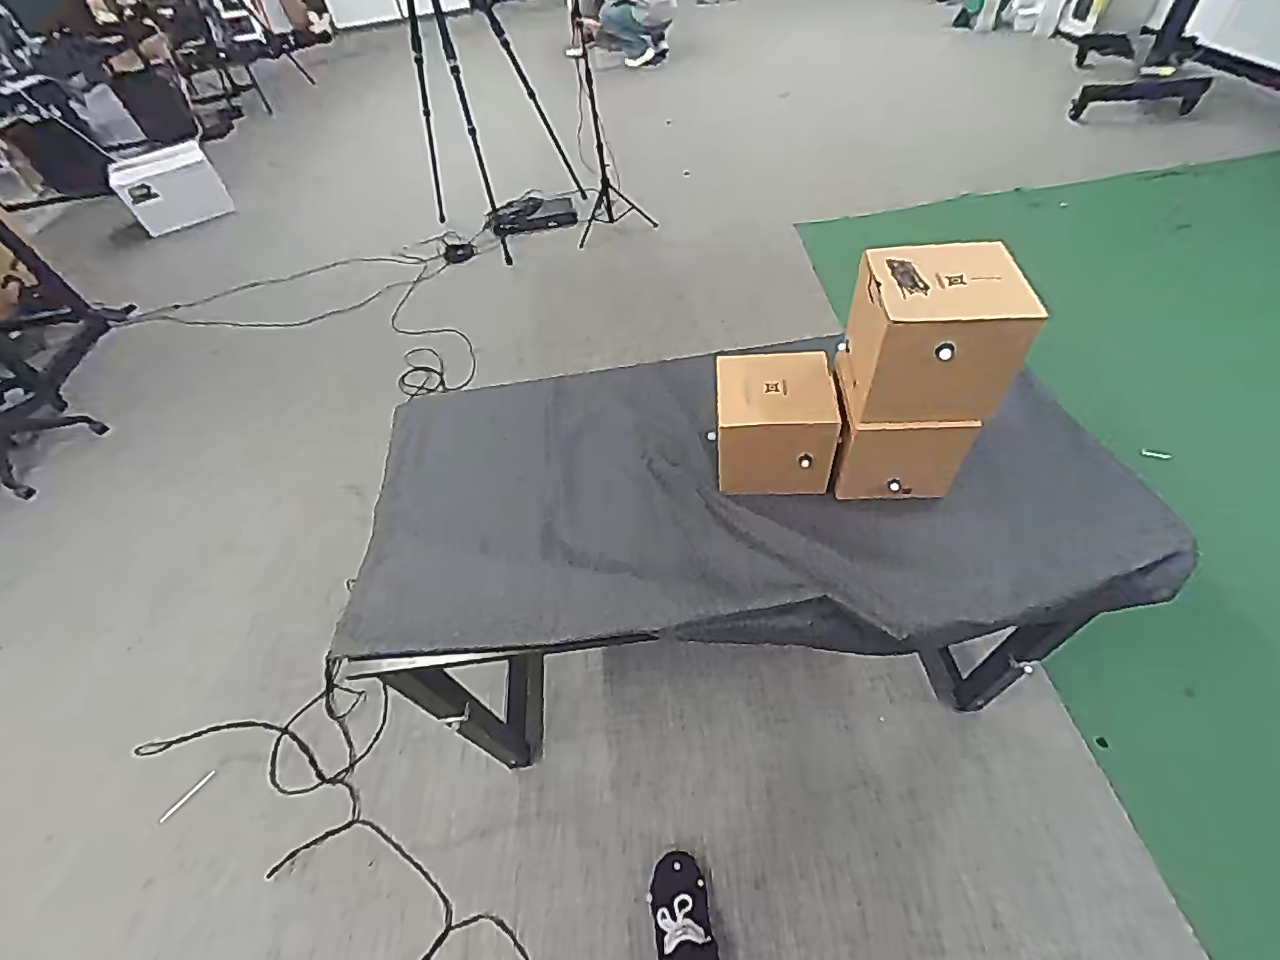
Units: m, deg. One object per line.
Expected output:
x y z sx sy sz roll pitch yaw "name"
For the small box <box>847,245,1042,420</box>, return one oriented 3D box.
0.388 -0.194 0.734 0.179 0.176 0.168 0 52 8 "small box"
